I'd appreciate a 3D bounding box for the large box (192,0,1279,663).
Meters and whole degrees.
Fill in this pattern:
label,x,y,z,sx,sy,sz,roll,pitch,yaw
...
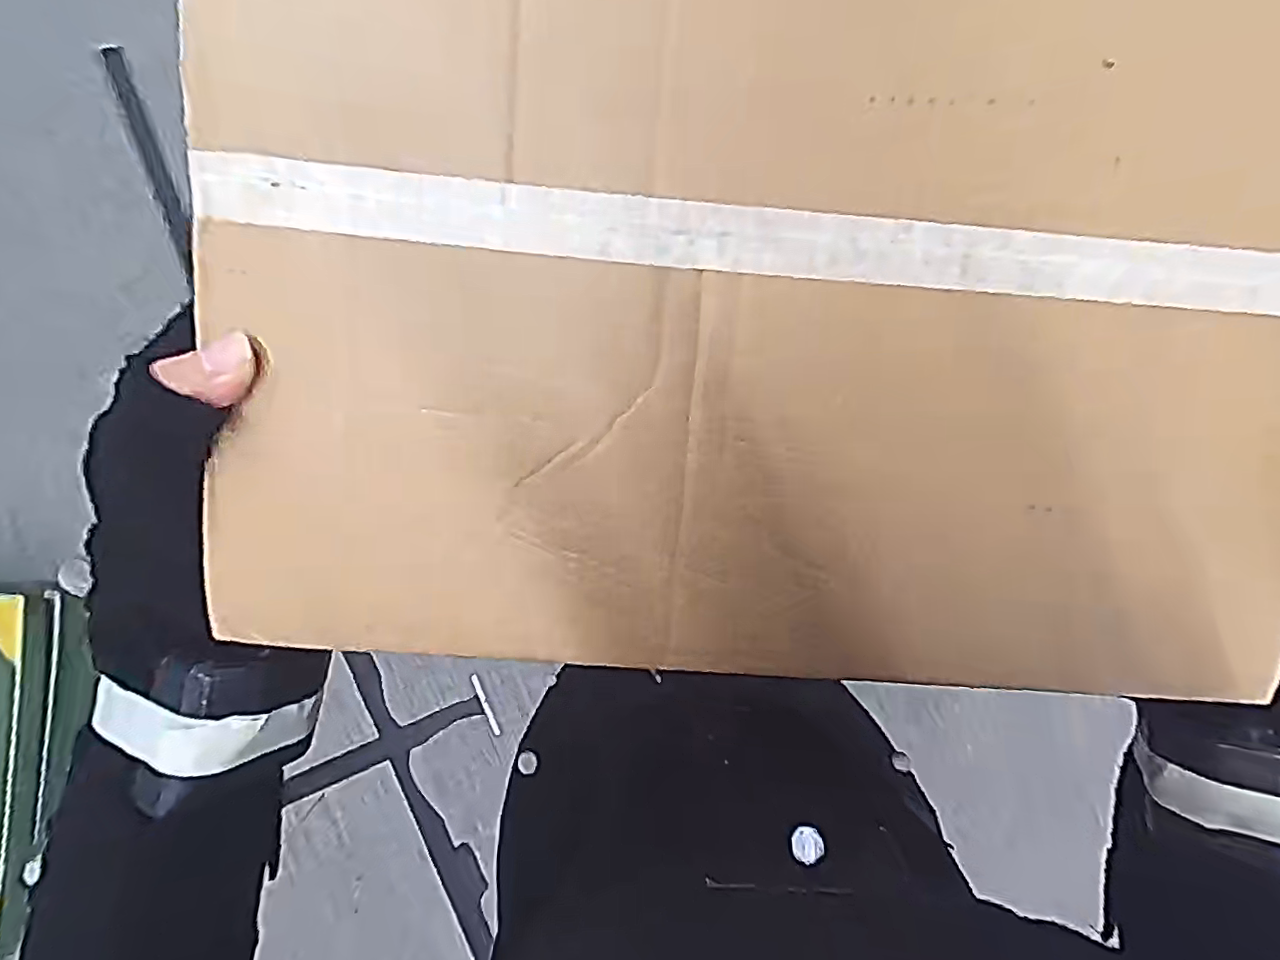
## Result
label,x,y,z,sx,sy,sz,roll,pitch,yaw
large box,0.044,-0.103,0.344,0.408,0.320,0.320,3,98,-3
